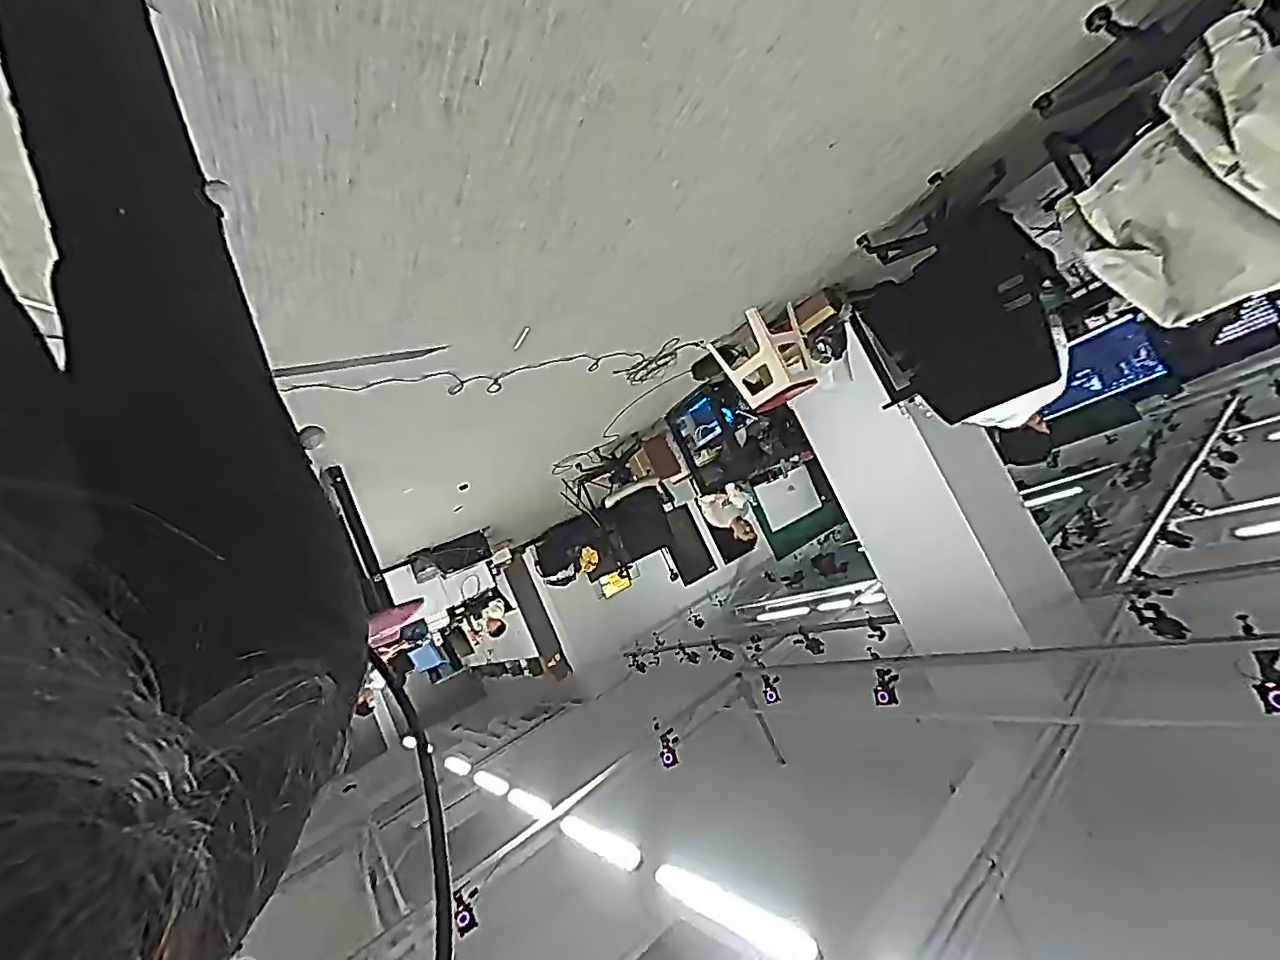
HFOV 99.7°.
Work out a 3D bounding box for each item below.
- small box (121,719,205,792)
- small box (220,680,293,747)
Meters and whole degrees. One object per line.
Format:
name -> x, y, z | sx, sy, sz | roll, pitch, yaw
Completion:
small box -> -1.677, 0.964, 1.899 | 0.168, 0.176, 0.179 | -29, 172, 39
small box -> -1.465, 0.883, 2.063 | 0.179, 0.176, 0.168 | -22, 173, -24
